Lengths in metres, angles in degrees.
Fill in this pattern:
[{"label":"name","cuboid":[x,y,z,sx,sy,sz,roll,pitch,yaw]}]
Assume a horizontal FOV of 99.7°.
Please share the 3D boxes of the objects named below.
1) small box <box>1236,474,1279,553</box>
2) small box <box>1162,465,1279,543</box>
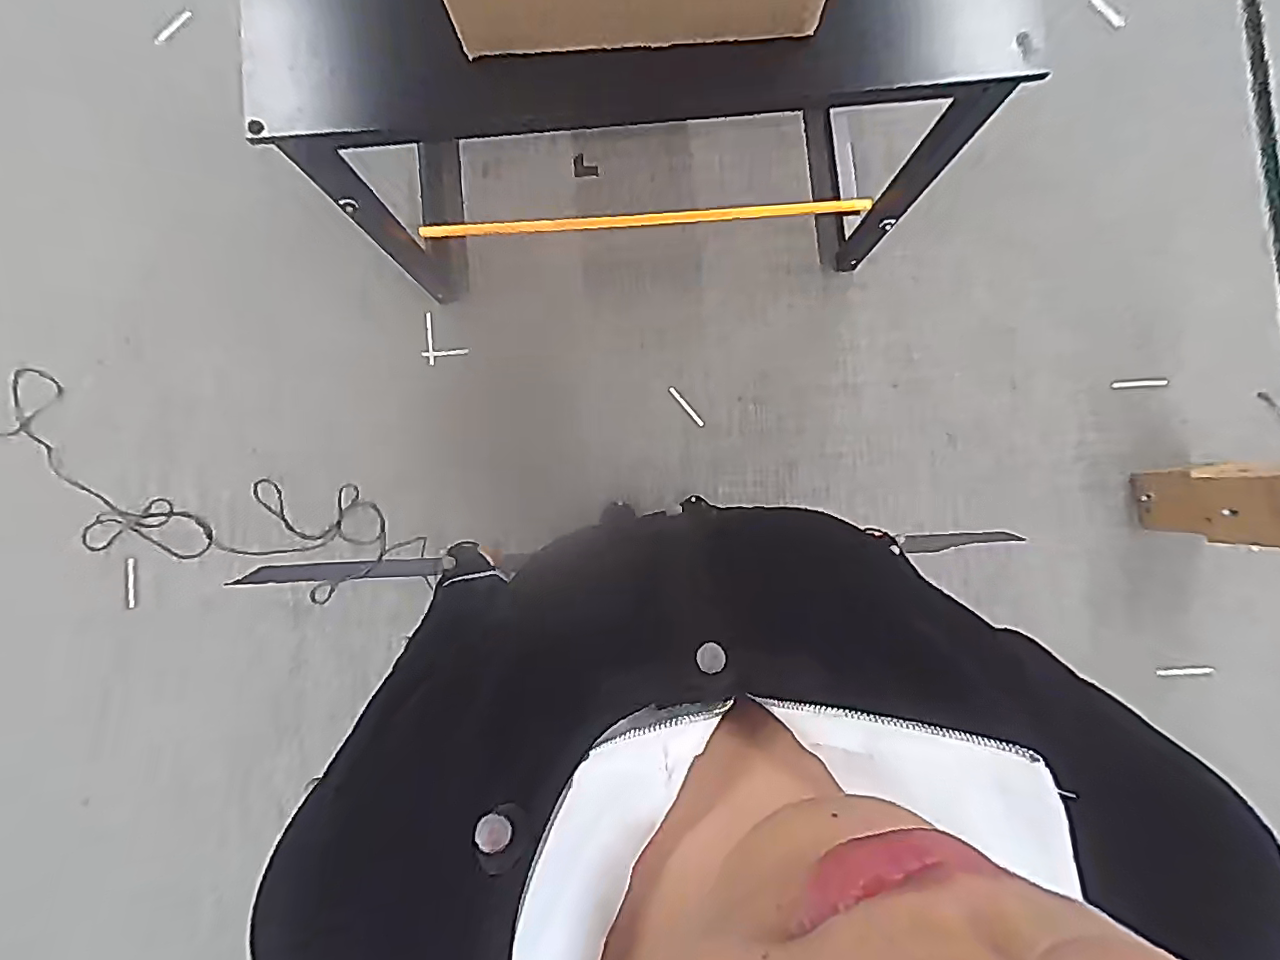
[{"label":"small box","cuboid":[1.479,0.069,1.186,0.179,0.176,0.168,-12,88,0]},{"label":"small box","cuboid":[1.480,0.057,1.350,0.179,0.176,0.168,-11,87,1]}]
